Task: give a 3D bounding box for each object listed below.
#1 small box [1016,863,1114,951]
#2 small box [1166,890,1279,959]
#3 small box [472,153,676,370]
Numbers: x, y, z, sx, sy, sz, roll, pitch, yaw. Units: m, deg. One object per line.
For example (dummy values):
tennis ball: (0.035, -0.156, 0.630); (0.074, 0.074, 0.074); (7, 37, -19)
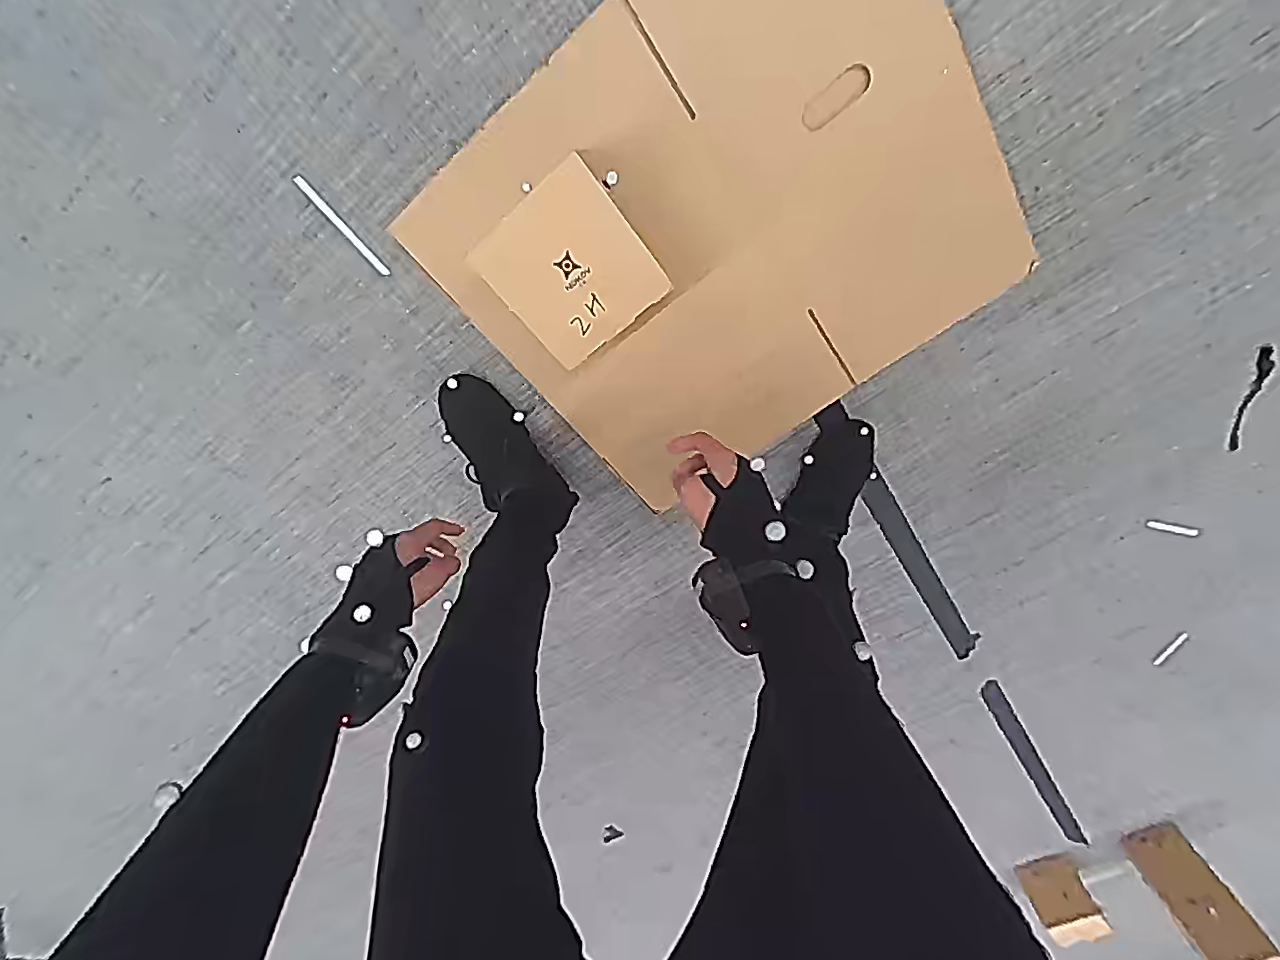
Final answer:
small box: (1.375, 1.383, 1.760); (0.168, 0.176, 0.179); (-35, 117, 18)
small box: (1.650, 1.300, 1.526); (0.168, 0.176, 0.179); (-32, 116, 15)
small box: (-0.075, -0.275, 0.681); (0.168, 0.176, 0.179); (-34, 117, 19)
